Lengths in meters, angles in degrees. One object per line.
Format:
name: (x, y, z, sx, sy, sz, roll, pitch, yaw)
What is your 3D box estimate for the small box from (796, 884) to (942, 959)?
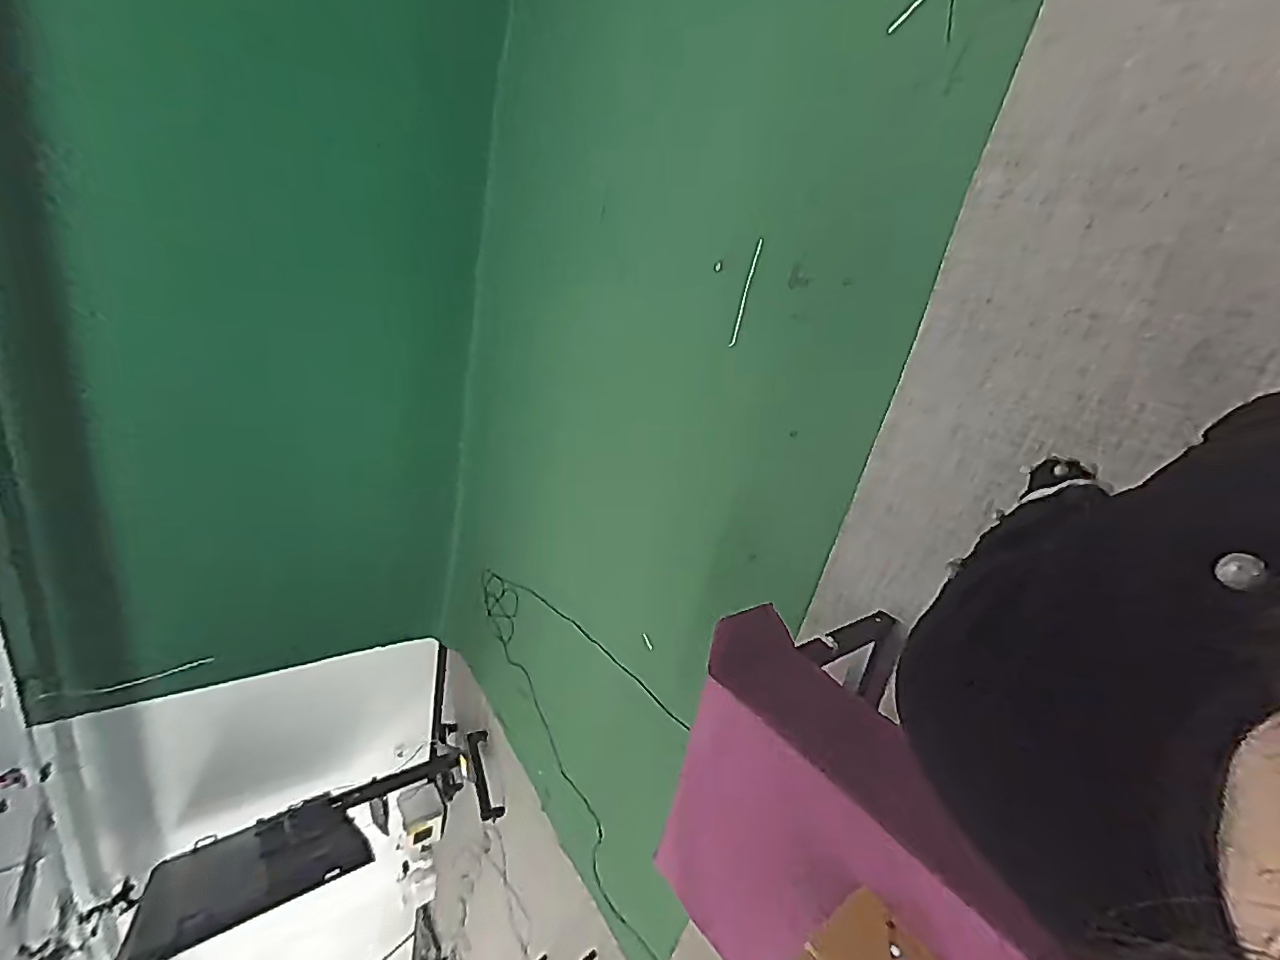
small box: (0.350, 0.792, 0.839, 0.168, 0.176, 0.179, 34, 120, 45)
